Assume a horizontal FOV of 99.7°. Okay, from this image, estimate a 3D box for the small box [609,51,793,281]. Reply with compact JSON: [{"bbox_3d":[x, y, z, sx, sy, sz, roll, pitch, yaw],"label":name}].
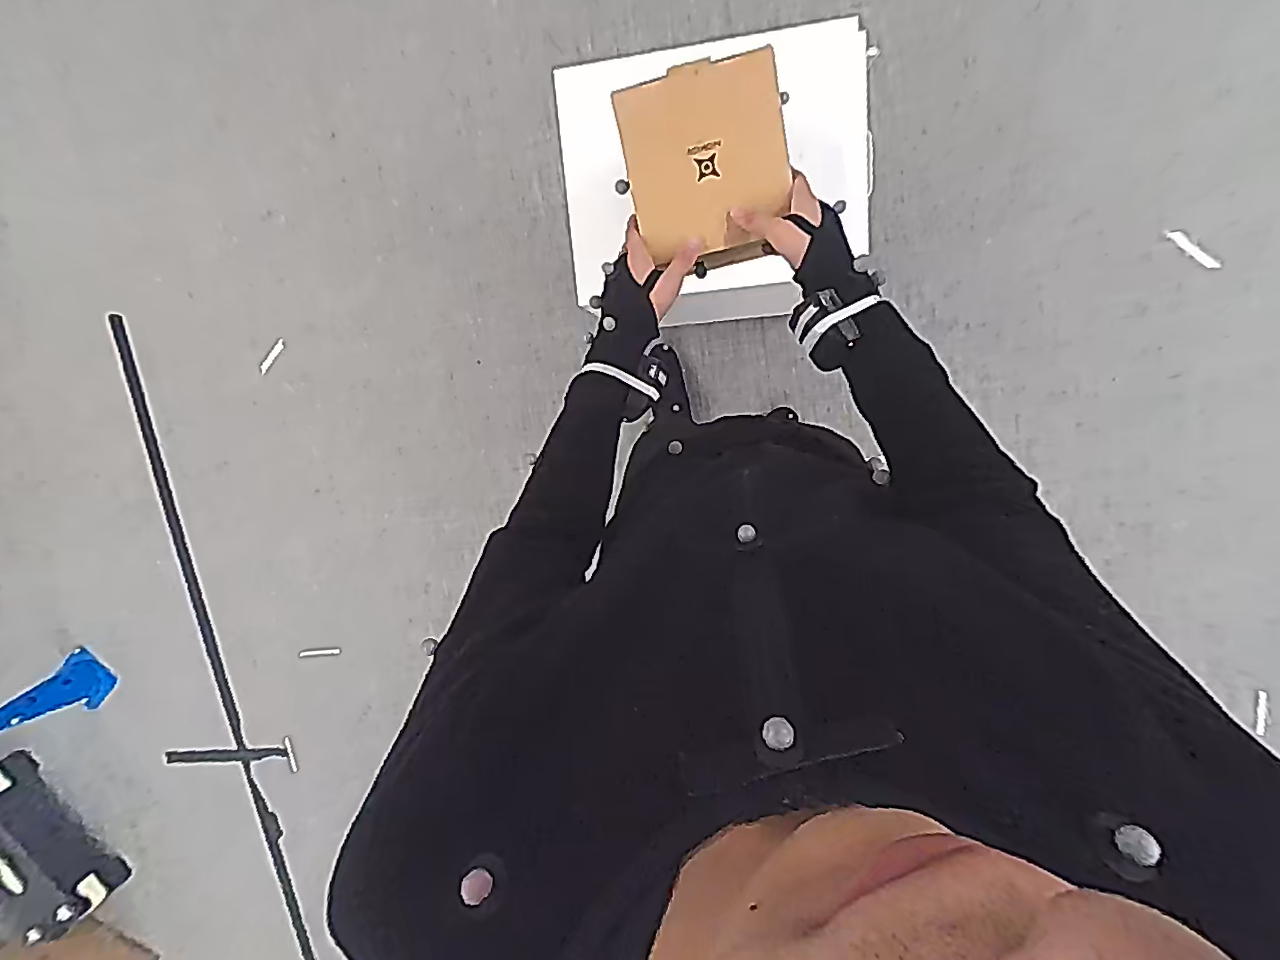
[{"bbox_3d":[0.072,-0.343,0.635,0.168,0.176,0.179,-12,102,7],"label":"small box"}]
